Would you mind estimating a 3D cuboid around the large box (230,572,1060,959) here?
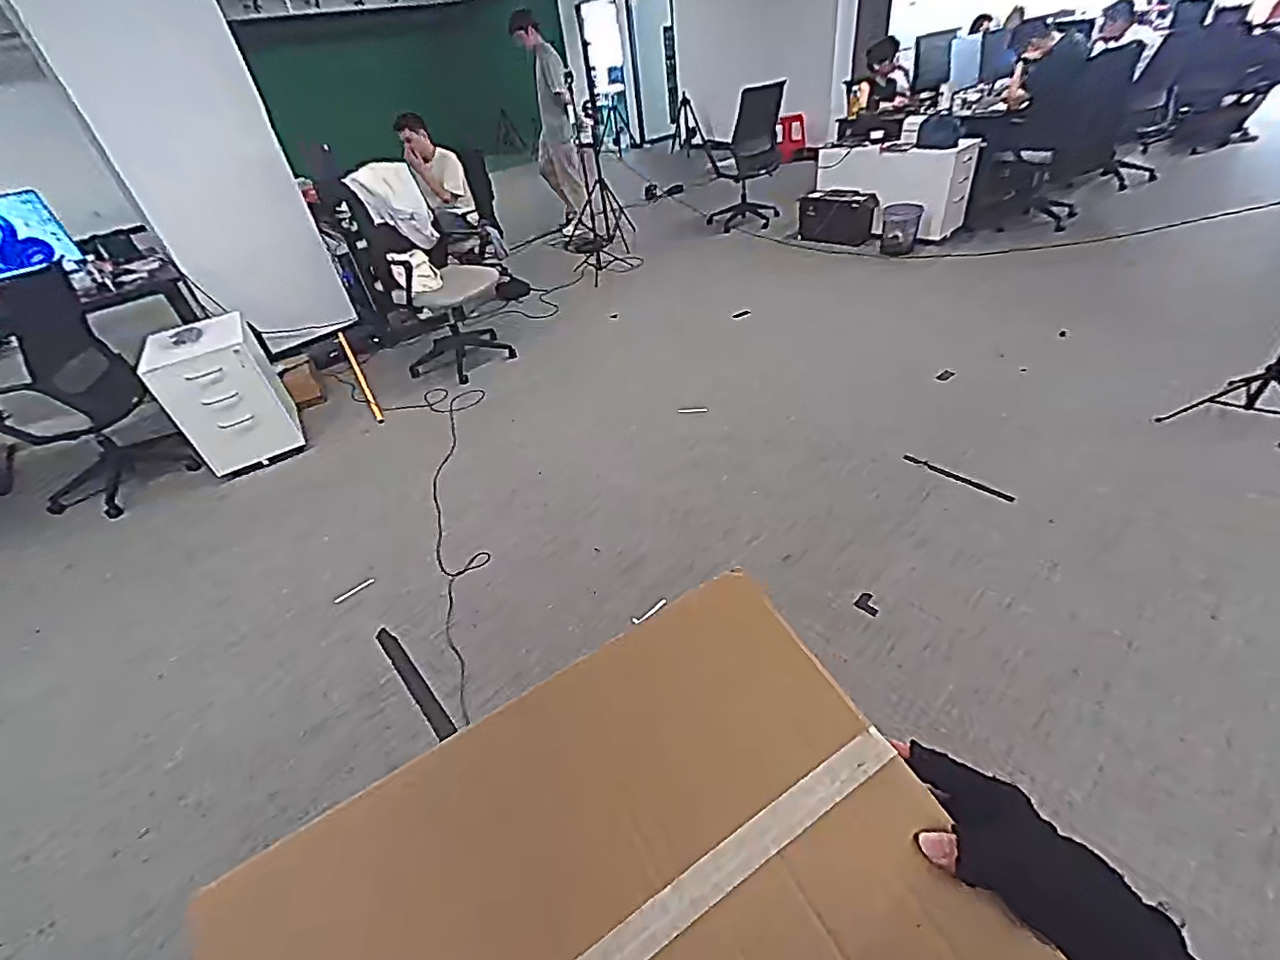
[{"bbox_3d":[-0.002,0.354,0.431,0.408,0.320,0.320,-28,58,-17],"label":"large box"}]
